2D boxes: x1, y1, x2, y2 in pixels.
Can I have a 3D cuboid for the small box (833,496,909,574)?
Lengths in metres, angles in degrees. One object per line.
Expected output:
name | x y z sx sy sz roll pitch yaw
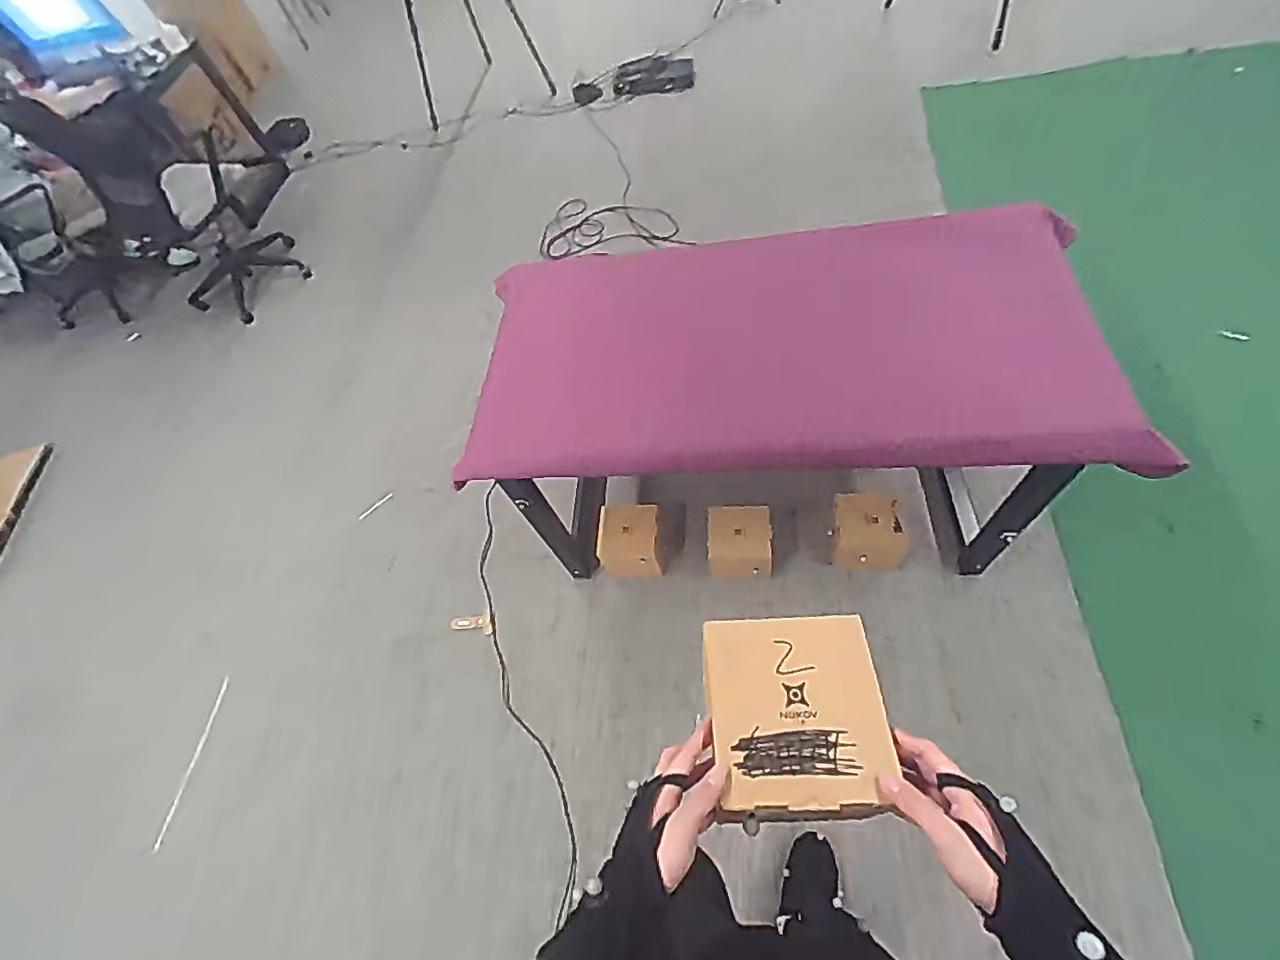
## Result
small box | 0.644 0.159 1.532 0.179 0.176 0.168 0 60 13

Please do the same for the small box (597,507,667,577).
small box | -0.020 0.194 1.658 0.179 0.176 0.168 -2 59 11

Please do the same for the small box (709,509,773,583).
small box | 0.298 0.195 1.587 0.179 0.176 0.168 -2 58 12
